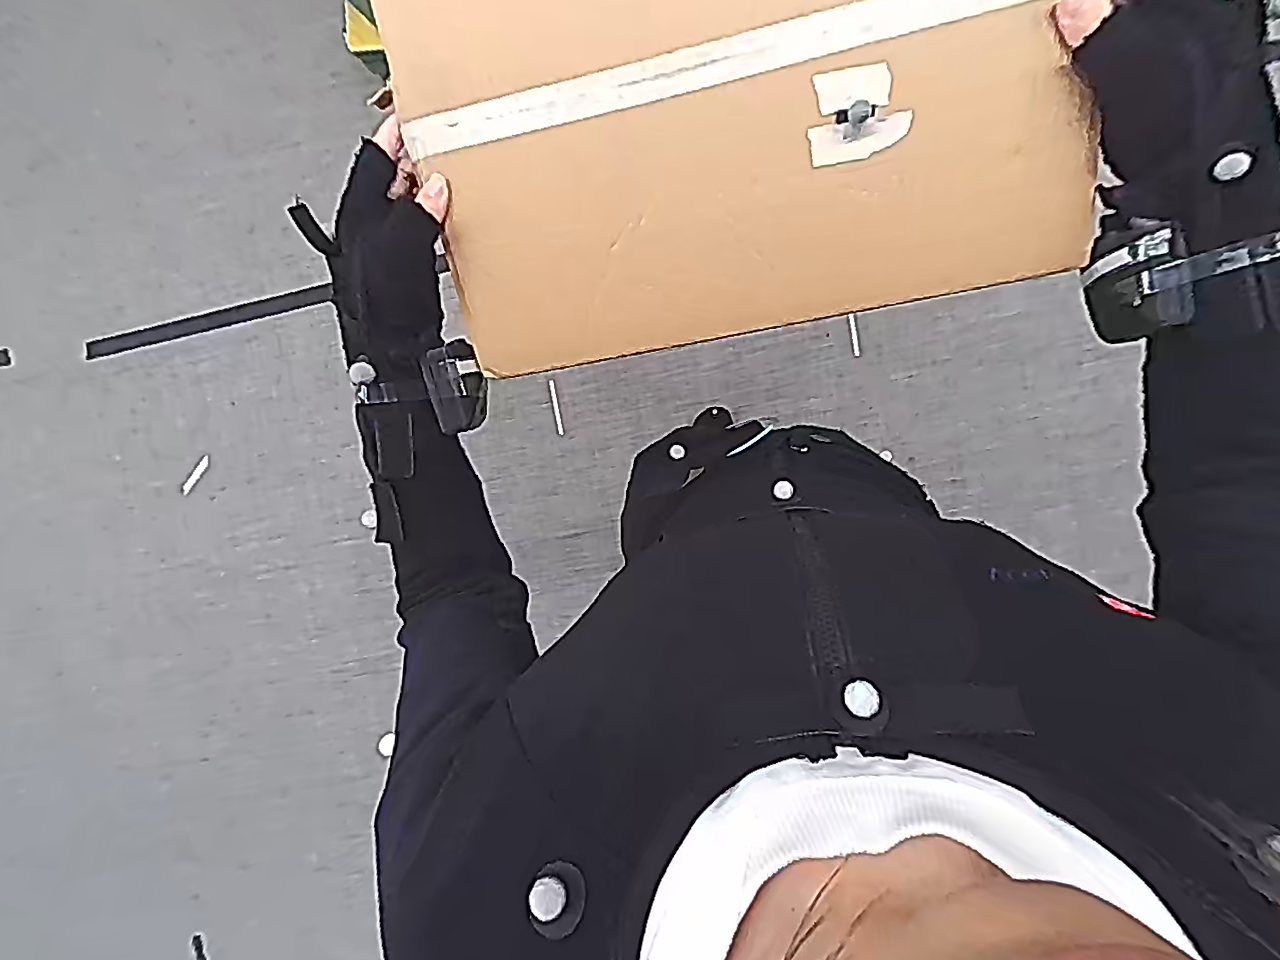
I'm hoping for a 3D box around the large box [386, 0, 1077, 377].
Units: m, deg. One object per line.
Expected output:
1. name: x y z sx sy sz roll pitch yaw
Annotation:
1. large box: 0.062 -0.302 0.472 0.408 0.320 0.320 -10 110 7
